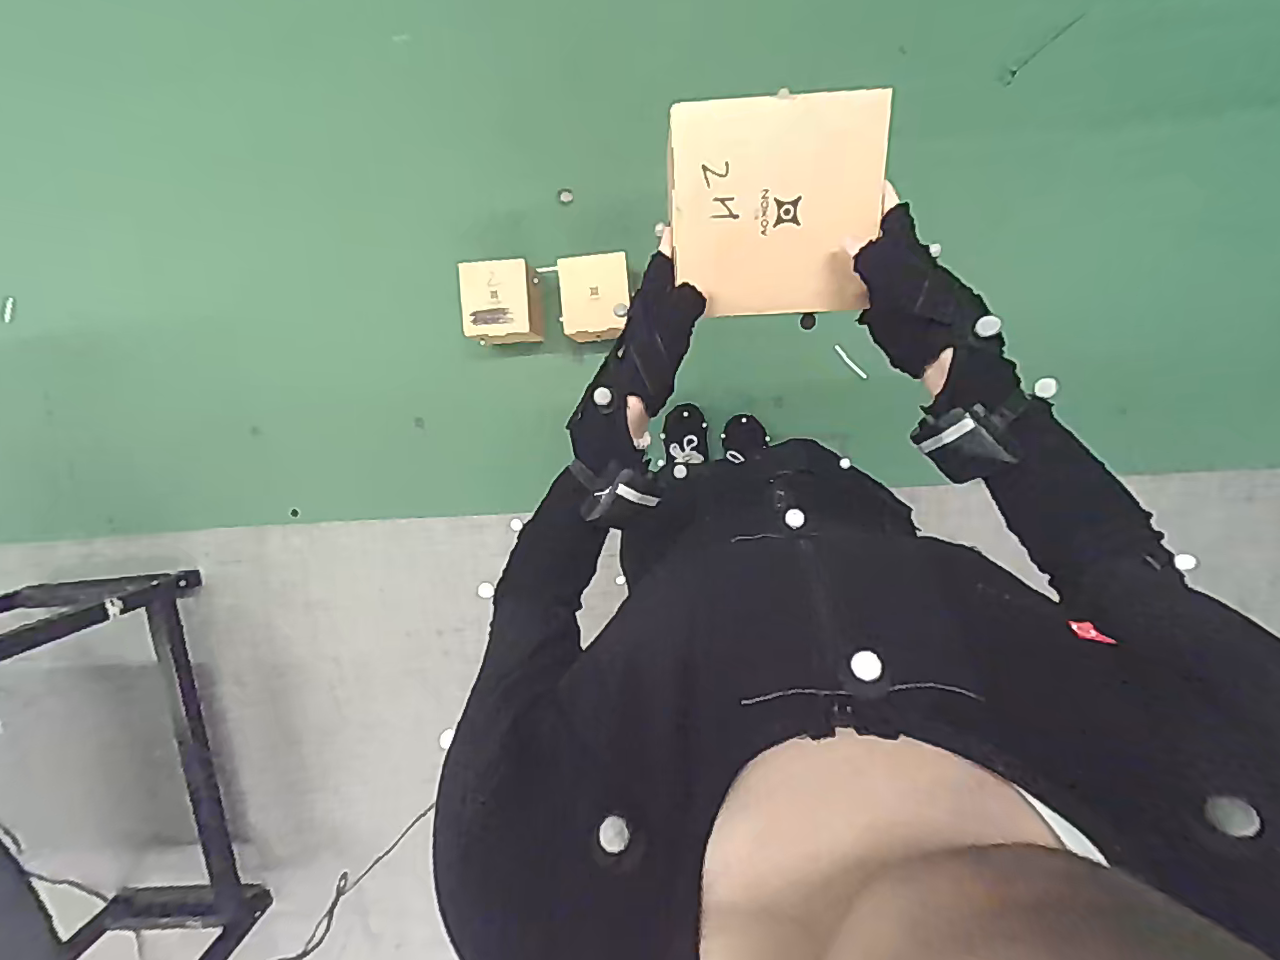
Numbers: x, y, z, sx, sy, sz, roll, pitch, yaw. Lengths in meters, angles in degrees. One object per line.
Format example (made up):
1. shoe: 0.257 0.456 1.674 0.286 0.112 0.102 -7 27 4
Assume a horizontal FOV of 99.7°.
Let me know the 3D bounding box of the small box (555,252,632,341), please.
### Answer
1. small box: -0.112 -0.456 1.363 0.168 0.176 0.179 -4 99 4
